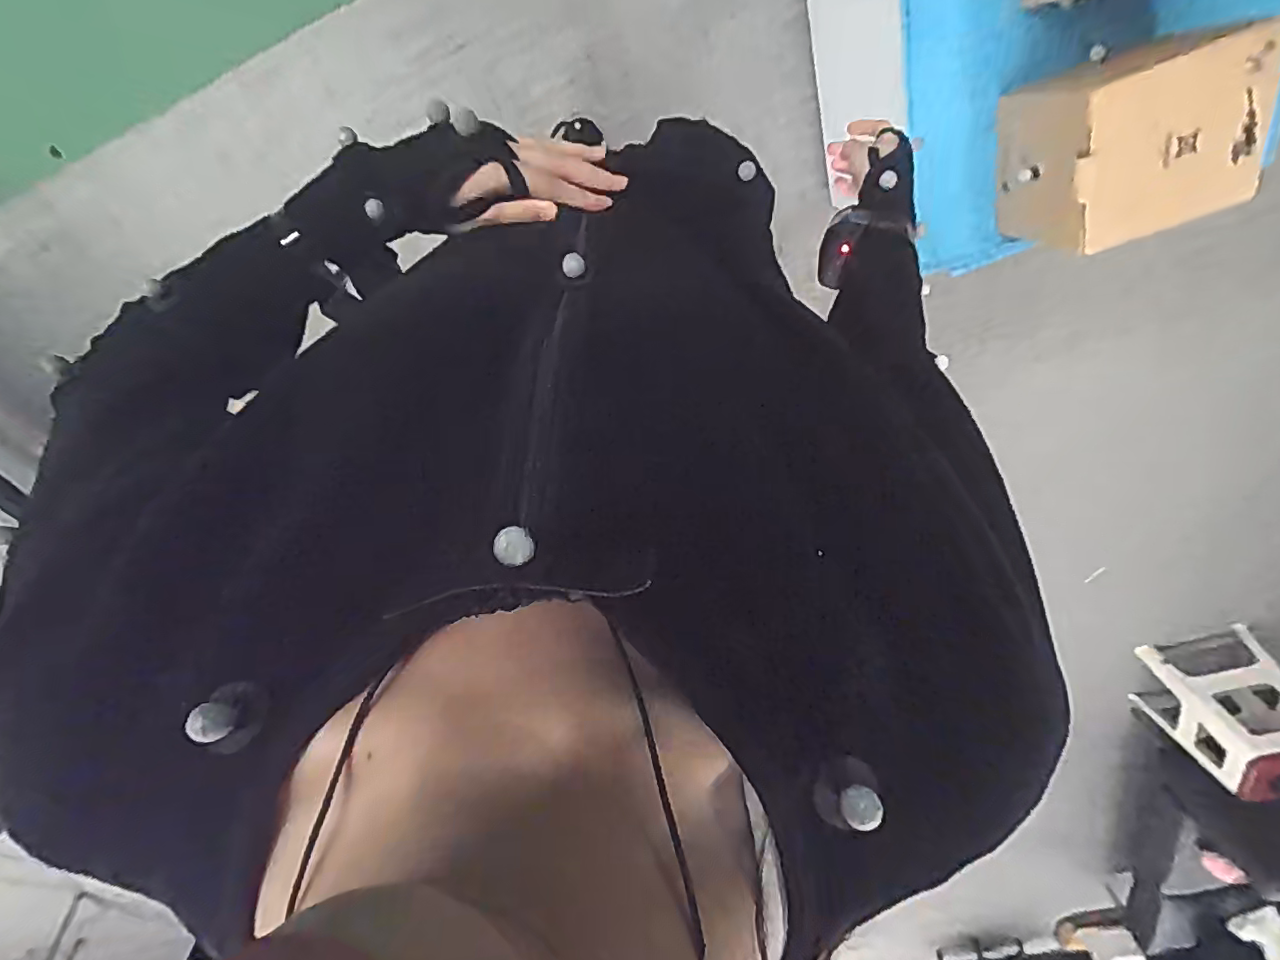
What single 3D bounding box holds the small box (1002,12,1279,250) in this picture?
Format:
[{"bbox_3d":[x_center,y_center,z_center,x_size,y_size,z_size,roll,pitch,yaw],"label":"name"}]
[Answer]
[{"bbox_3d":[0.547,-0.387,0.617,0.179,0.176,0.168,-17,123,10],"label":"small box"}]
